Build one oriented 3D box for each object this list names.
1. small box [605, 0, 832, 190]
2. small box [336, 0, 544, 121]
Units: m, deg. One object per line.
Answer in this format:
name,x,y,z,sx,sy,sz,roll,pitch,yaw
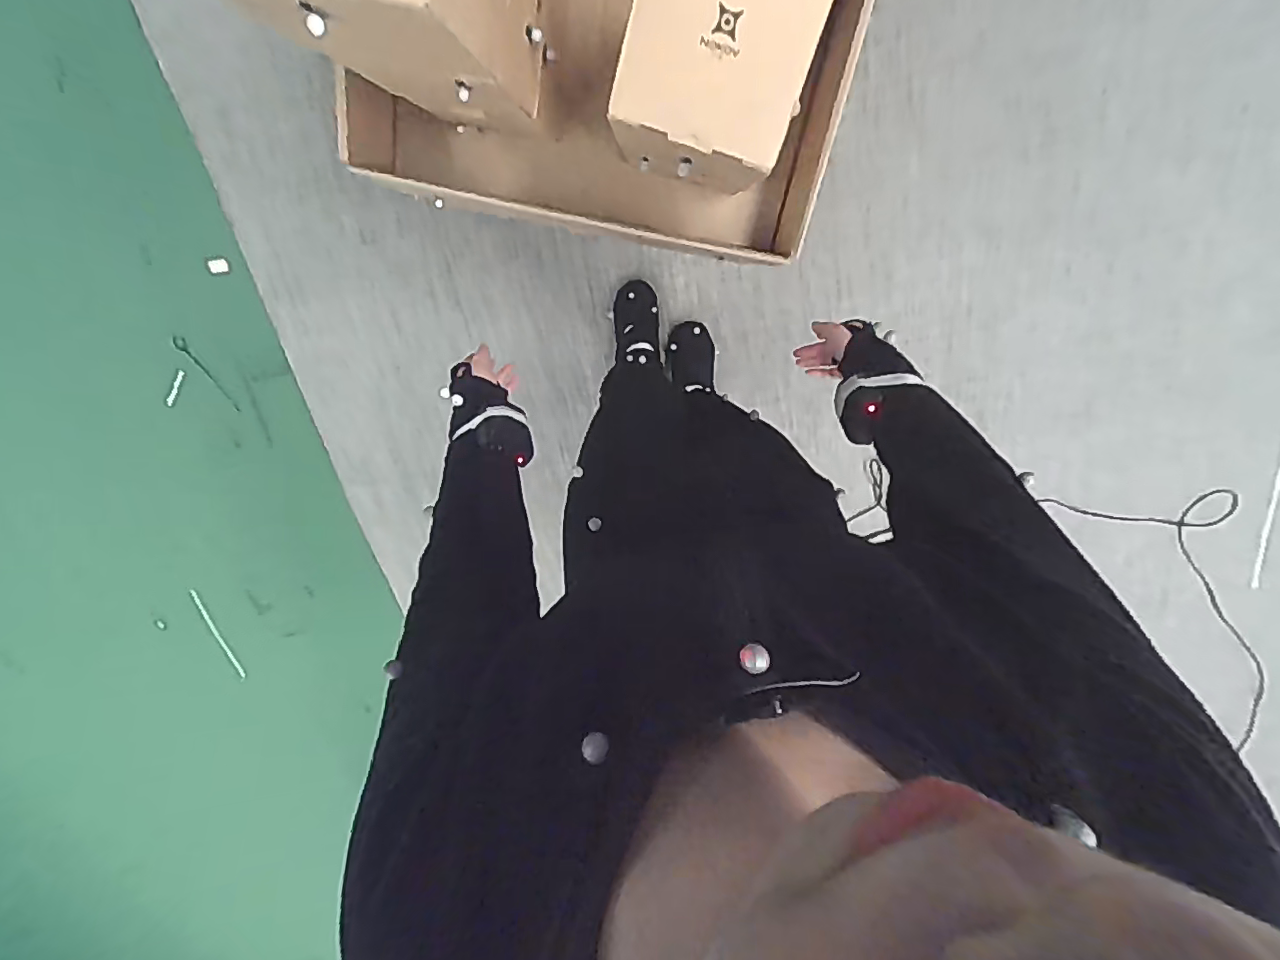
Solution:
small box,0.073,-0.417,0.552,0.168,0.176,0.179,17,113,-5
small box,-0.202,-0.482,0.538,0.179,0.176,0.168,10,113,-4
